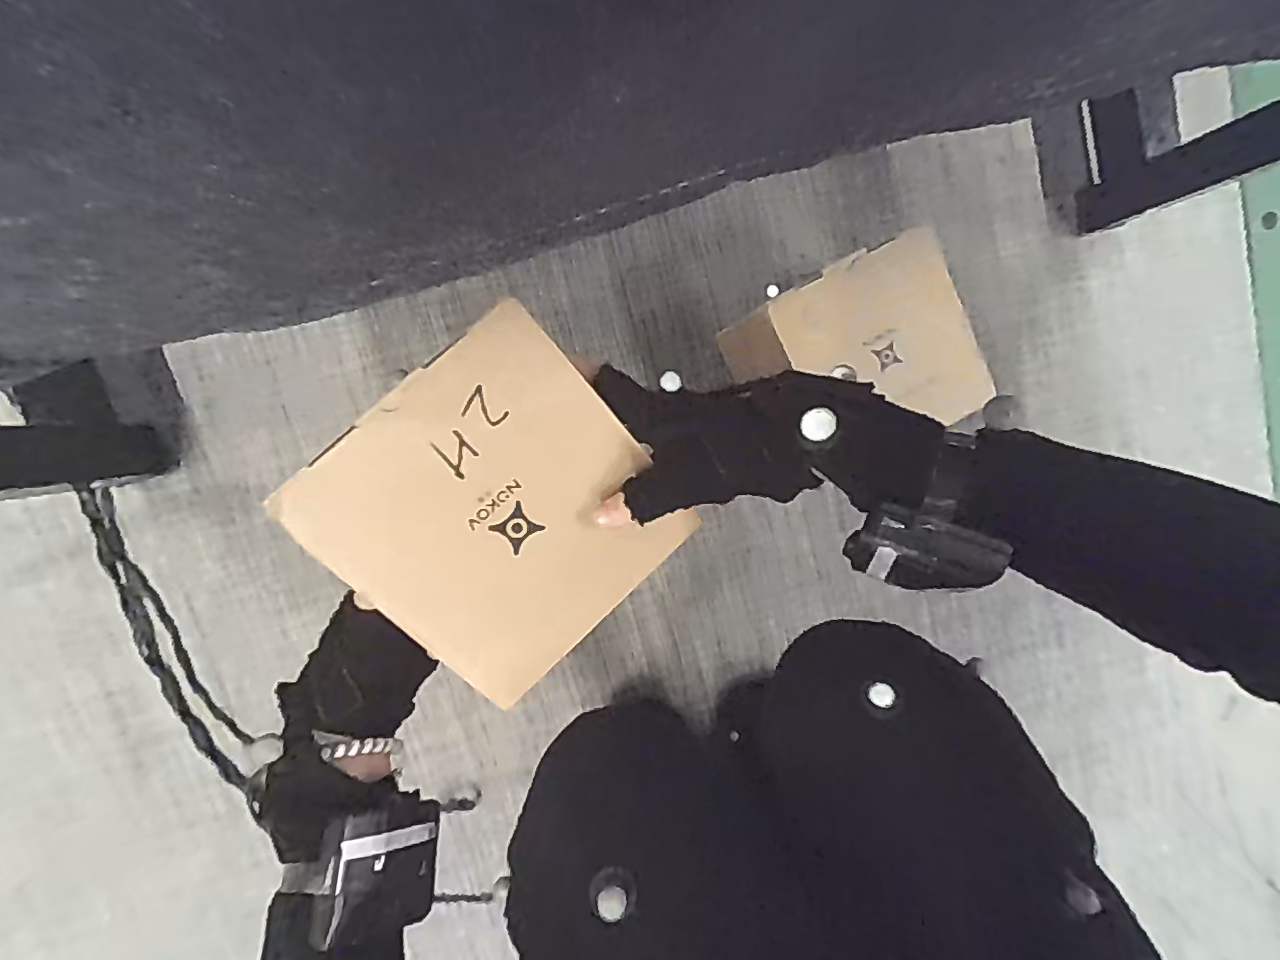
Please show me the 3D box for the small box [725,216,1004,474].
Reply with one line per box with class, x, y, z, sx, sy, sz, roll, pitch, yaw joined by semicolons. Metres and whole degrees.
small box;0.207;-0.121;0.547;0.168;0.176;0.179;-28;98;-3
